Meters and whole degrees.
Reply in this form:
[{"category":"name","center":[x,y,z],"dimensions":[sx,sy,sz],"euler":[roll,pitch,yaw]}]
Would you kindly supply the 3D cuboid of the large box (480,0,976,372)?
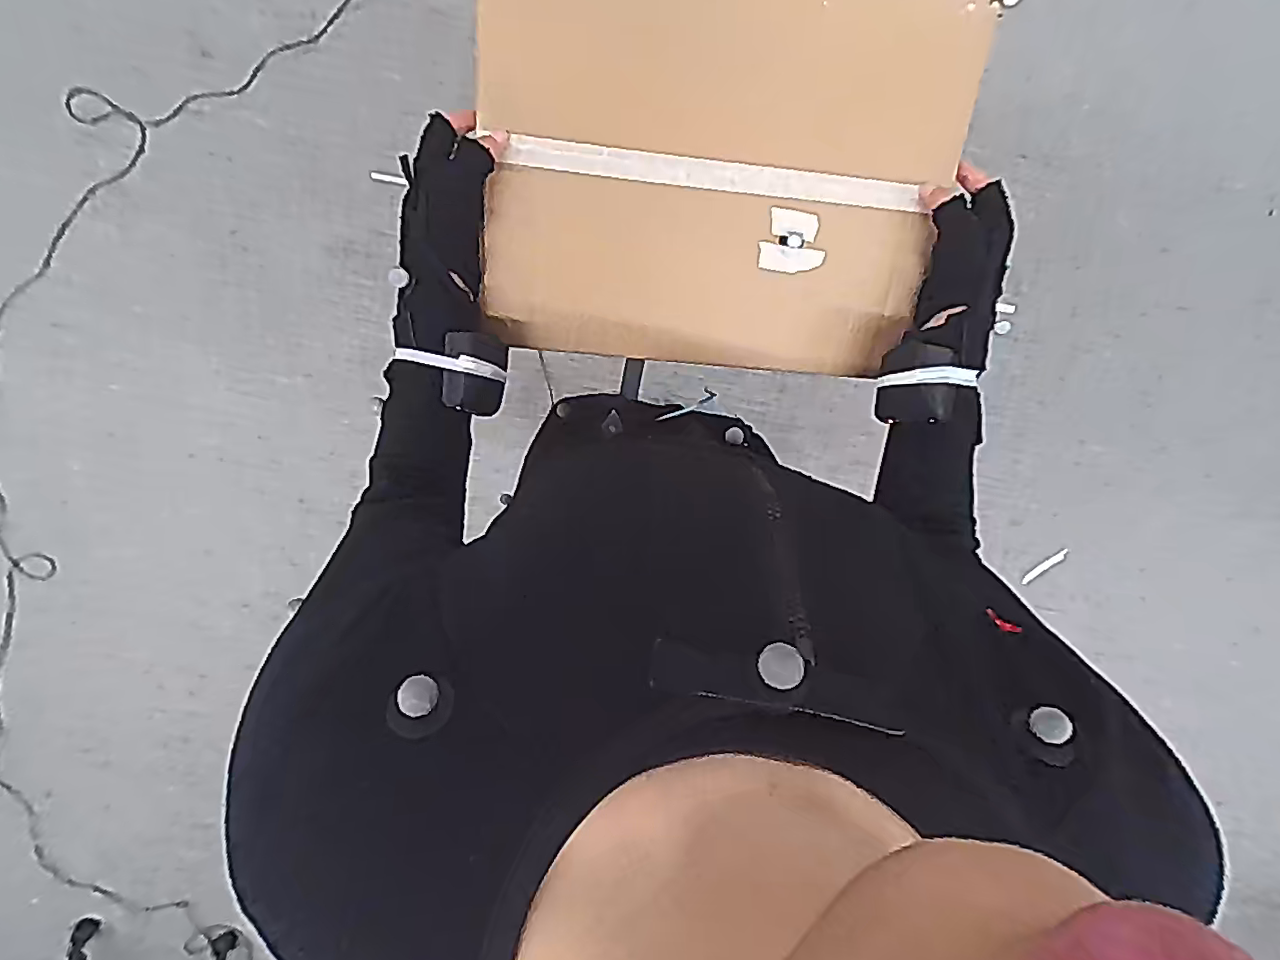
[{"category":"large box","center":[0.053,-0.309,0.607],"dimensions":[0.408,0.320,0.320],"euler":[3,111,-7]}]
